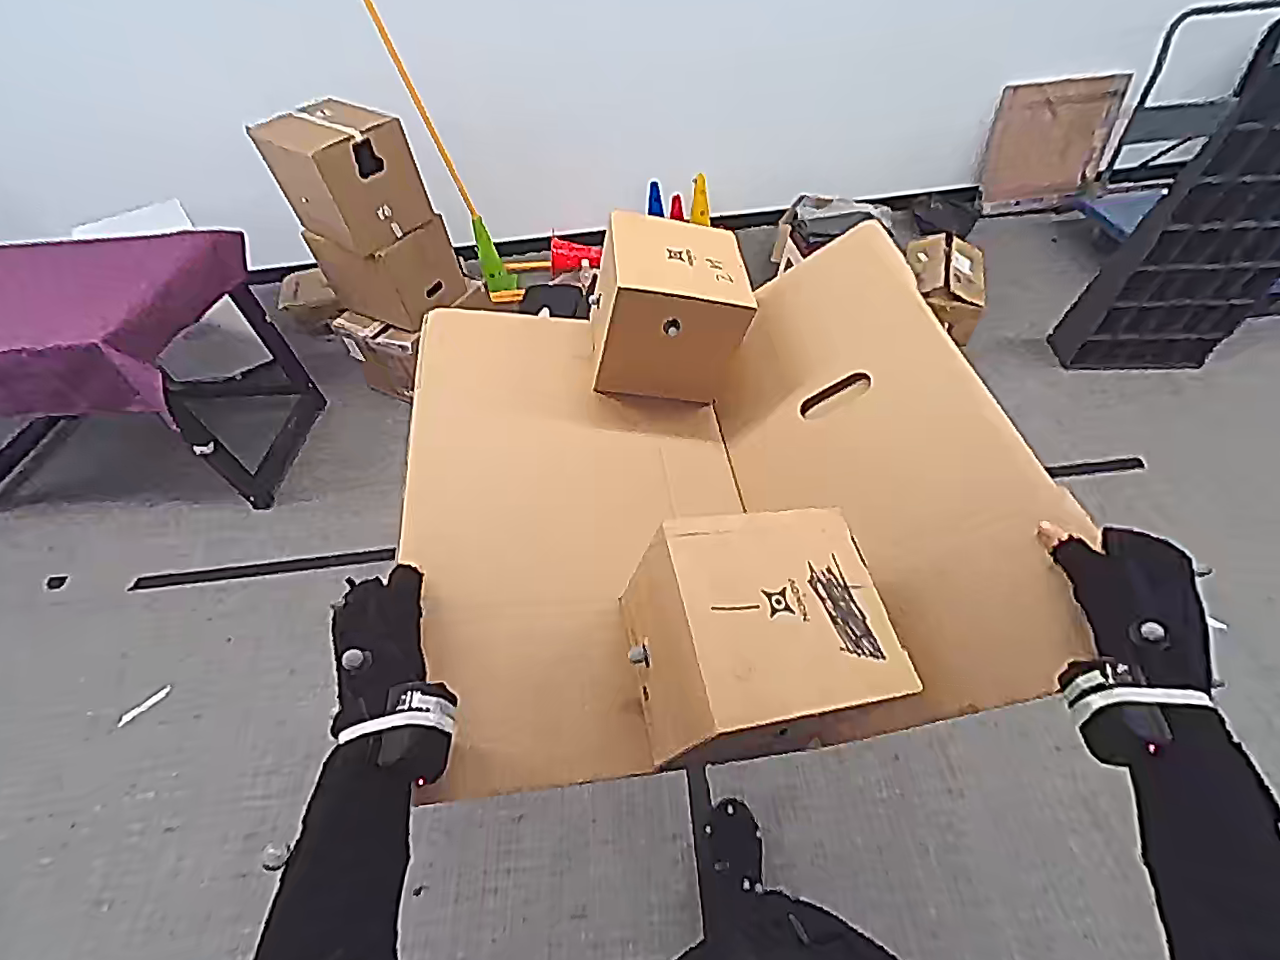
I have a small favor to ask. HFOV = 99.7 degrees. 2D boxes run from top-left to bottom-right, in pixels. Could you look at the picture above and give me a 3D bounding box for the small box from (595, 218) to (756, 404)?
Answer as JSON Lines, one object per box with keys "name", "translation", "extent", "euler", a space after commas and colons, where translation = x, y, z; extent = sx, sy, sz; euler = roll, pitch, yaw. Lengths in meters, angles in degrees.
{"name": "small box", "translation": [0.034, -0.223, 0.741], "extent": [0.179, 0.176, 0.168], "euler": [5, 54, -13]}
